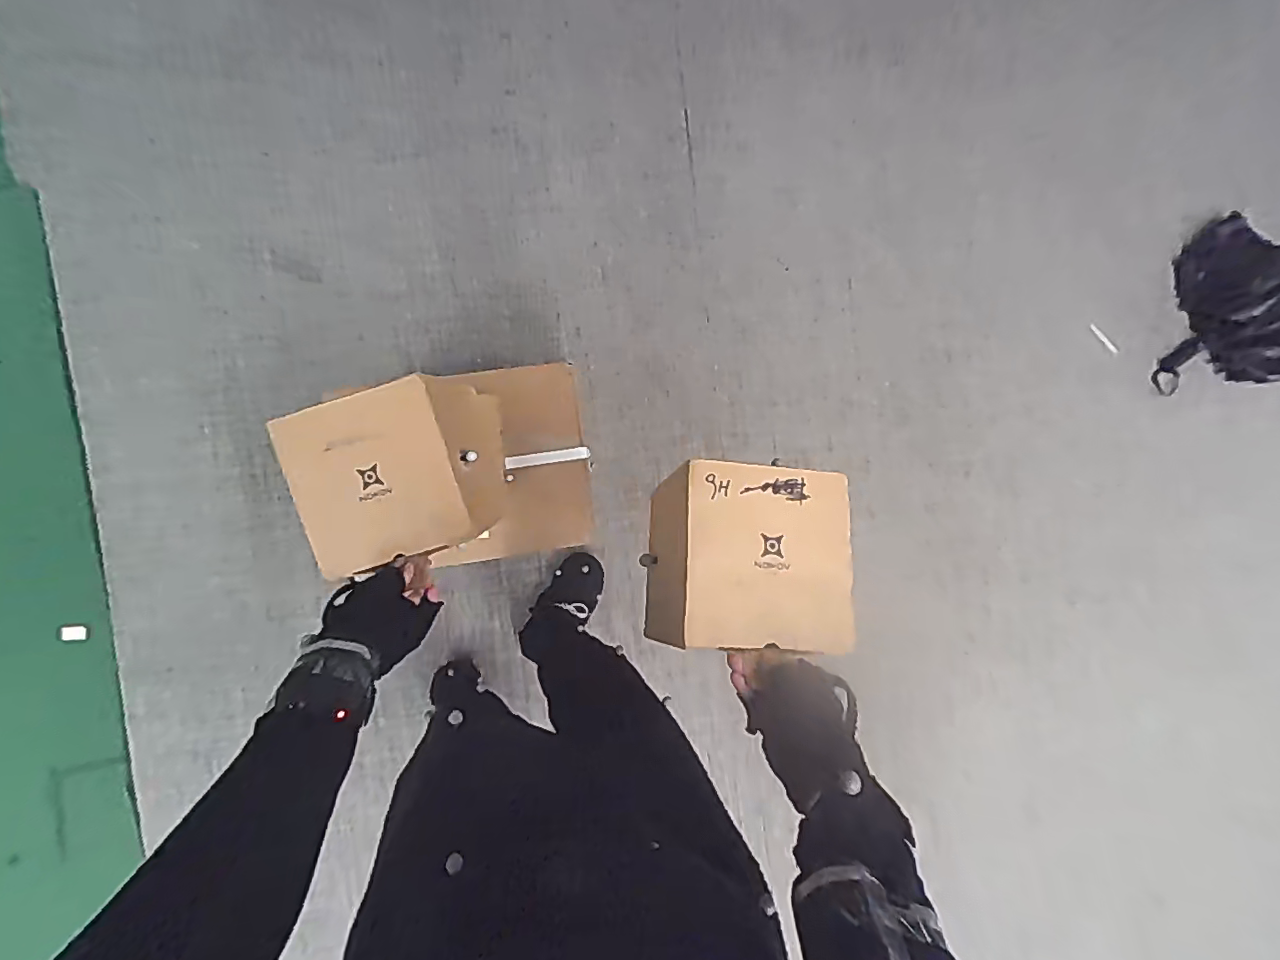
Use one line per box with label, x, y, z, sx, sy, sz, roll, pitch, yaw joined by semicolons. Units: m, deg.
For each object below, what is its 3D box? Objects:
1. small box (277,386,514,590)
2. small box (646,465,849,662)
small box;-0.263;0.003;0.627;0.168;0.176;0.179;-18;93;3
small box;0.106;0.094;0.587;0.168;0.176;0.179;6;76;-11
